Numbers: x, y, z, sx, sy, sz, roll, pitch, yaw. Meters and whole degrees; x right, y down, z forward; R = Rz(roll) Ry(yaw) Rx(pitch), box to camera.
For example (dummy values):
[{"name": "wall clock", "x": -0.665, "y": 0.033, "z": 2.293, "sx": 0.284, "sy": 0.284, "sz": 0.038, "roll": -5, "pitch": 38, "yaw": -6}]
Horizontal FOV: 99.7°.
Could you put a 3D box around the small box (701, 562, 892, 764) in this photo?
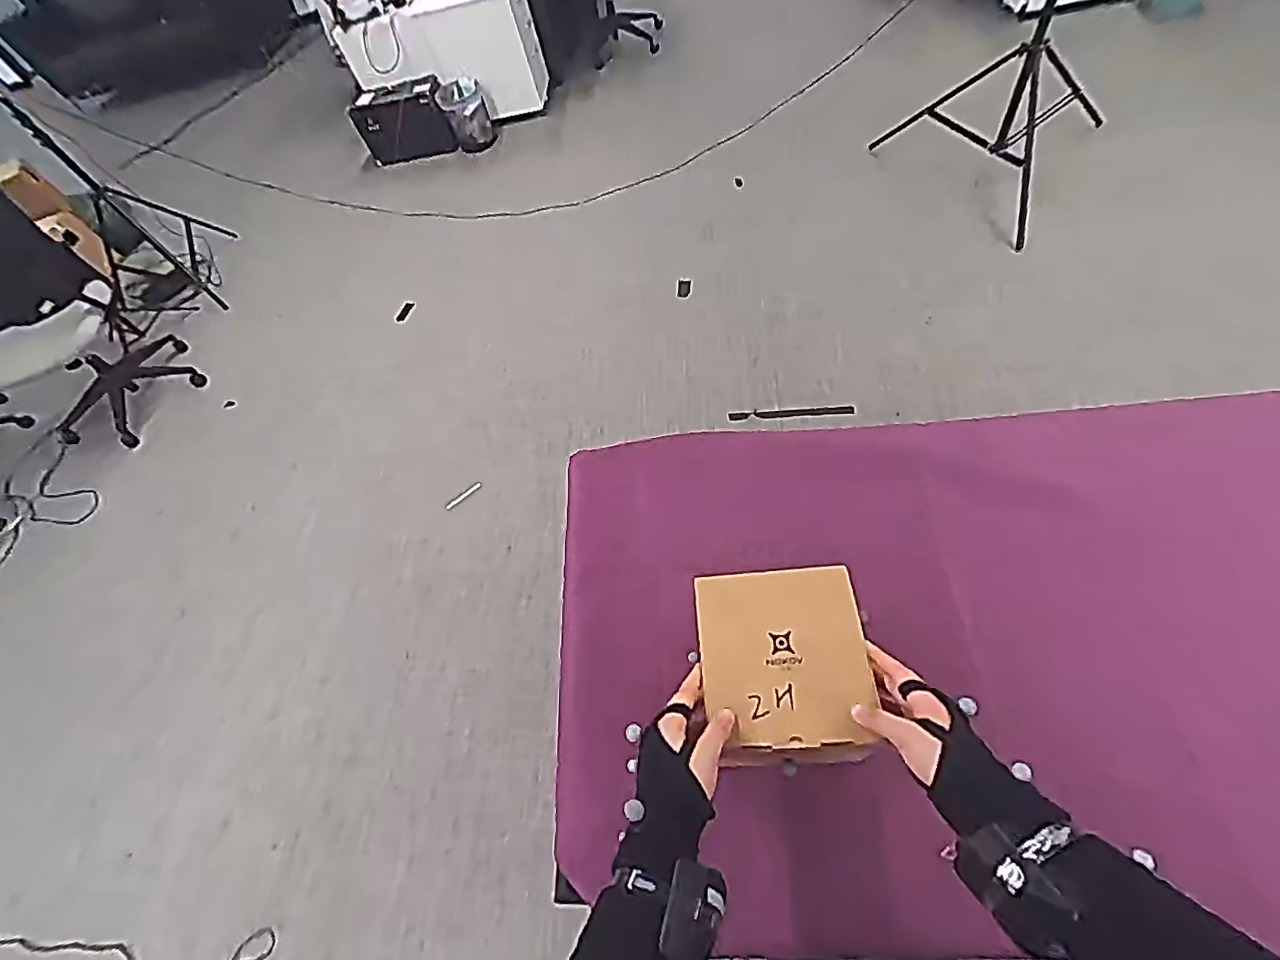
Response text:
[{"name": "small box", "x": 0.159, "y": 0.210, "z": 0.605, "sx": 0.168, "sy": 0.176, "sz": 0.179, "roll": -6, "pitch": 57, "yaw": 8}]
